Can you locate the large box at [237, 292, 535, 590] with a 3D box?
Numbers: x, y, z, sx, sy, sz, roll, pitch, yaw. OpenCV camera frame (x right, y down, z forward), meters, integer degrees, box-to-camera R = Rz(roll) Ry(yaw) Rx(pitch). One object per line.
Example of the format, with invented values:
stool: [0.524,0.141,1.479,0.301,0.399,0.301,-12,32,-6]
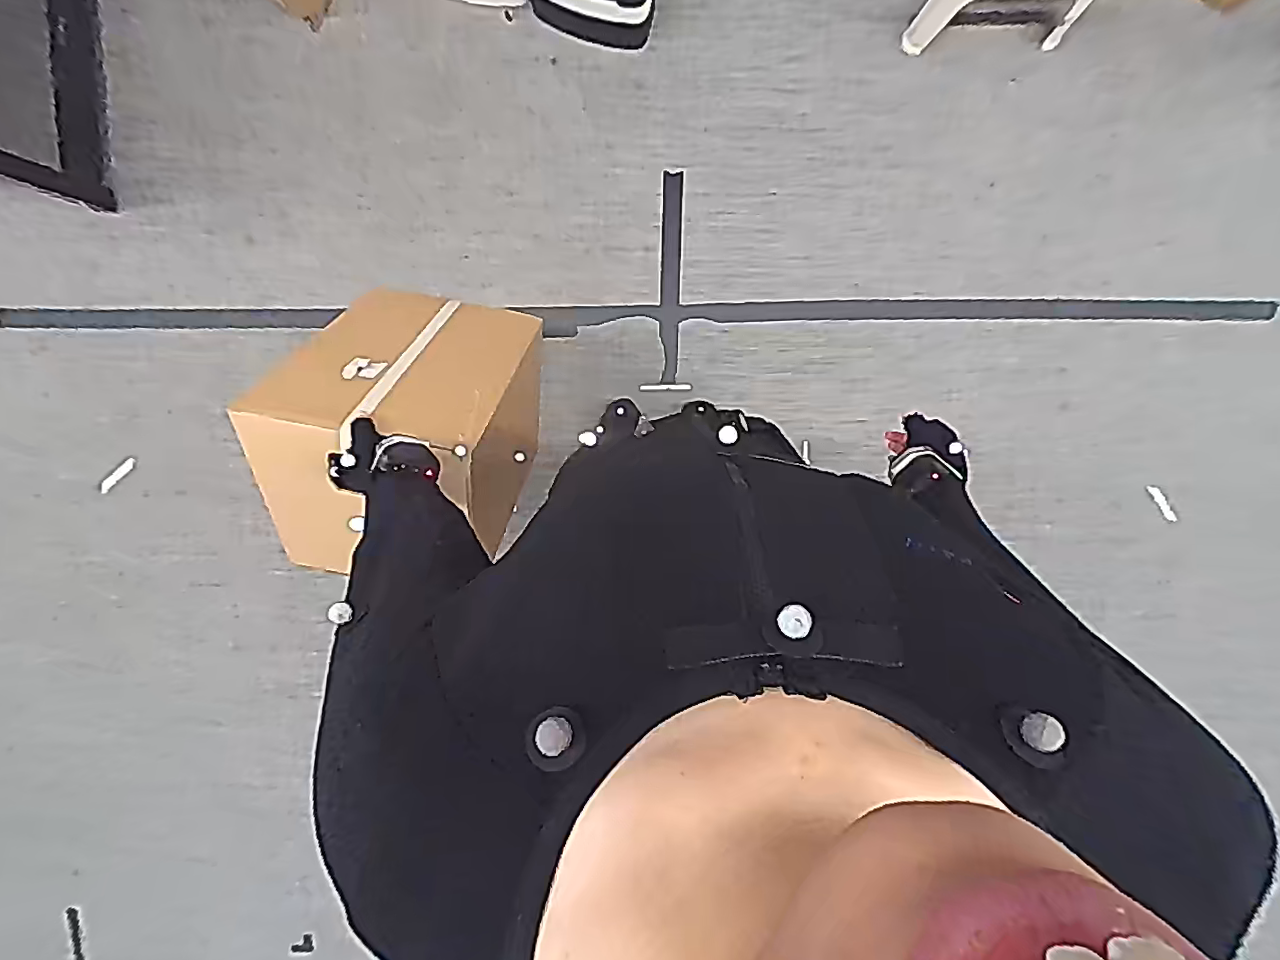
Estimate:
large box: [-0.384,-0.078,0.953,0.320,0.408,0.320,10,133,-1]
